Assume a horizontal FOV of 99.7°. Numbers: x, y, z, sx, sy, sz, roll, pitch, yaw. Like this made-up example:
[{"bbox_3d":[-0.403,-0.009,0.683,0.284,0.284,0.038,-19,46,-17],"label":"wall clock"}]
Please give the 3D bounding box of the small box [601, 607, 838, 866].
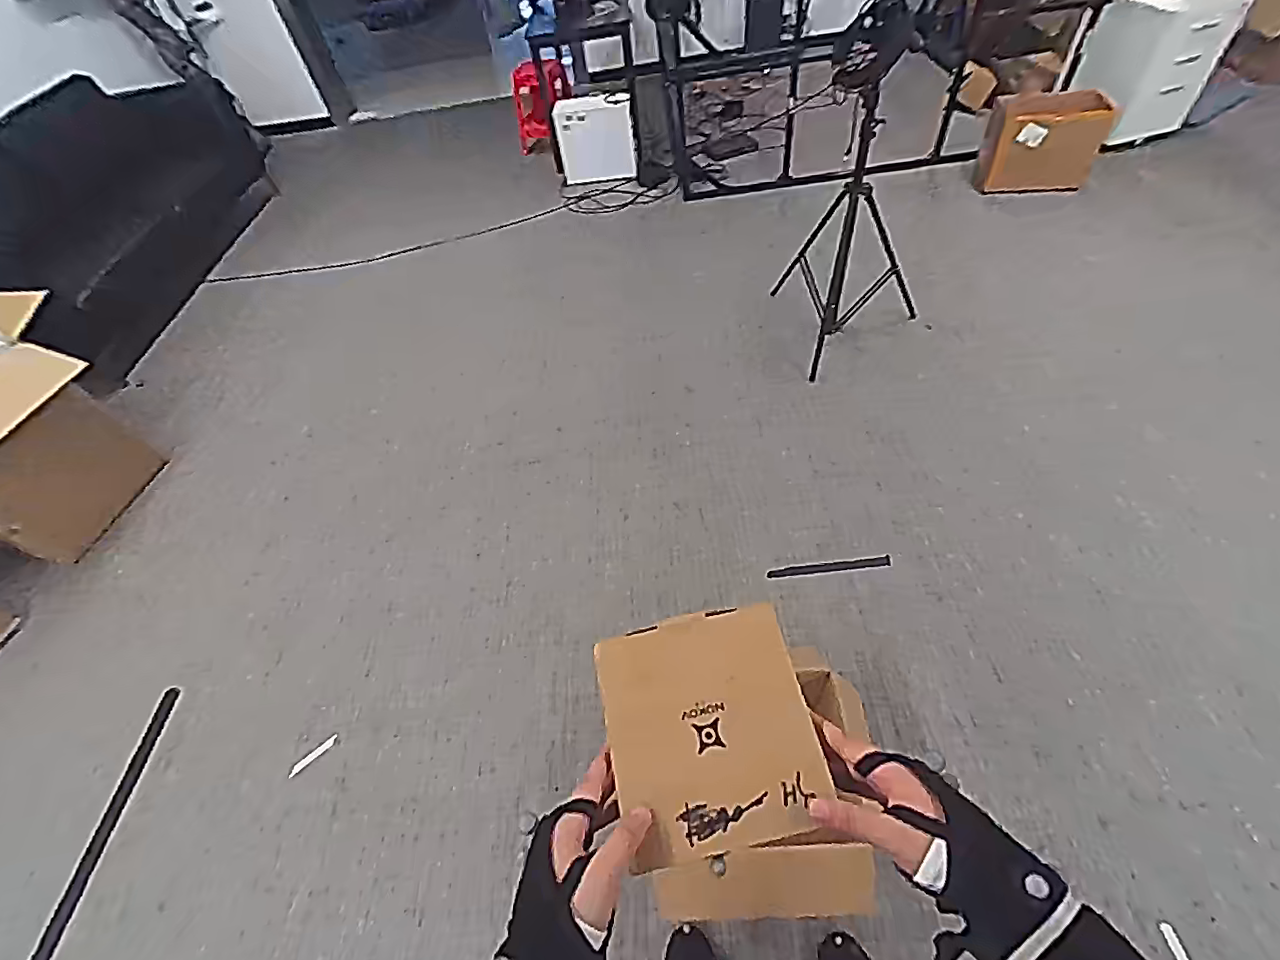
[{"bbox_3d":[0.064,0.244,0.521,0.168,0.176,0.179,-13,60,0],"label":"small box"}]
